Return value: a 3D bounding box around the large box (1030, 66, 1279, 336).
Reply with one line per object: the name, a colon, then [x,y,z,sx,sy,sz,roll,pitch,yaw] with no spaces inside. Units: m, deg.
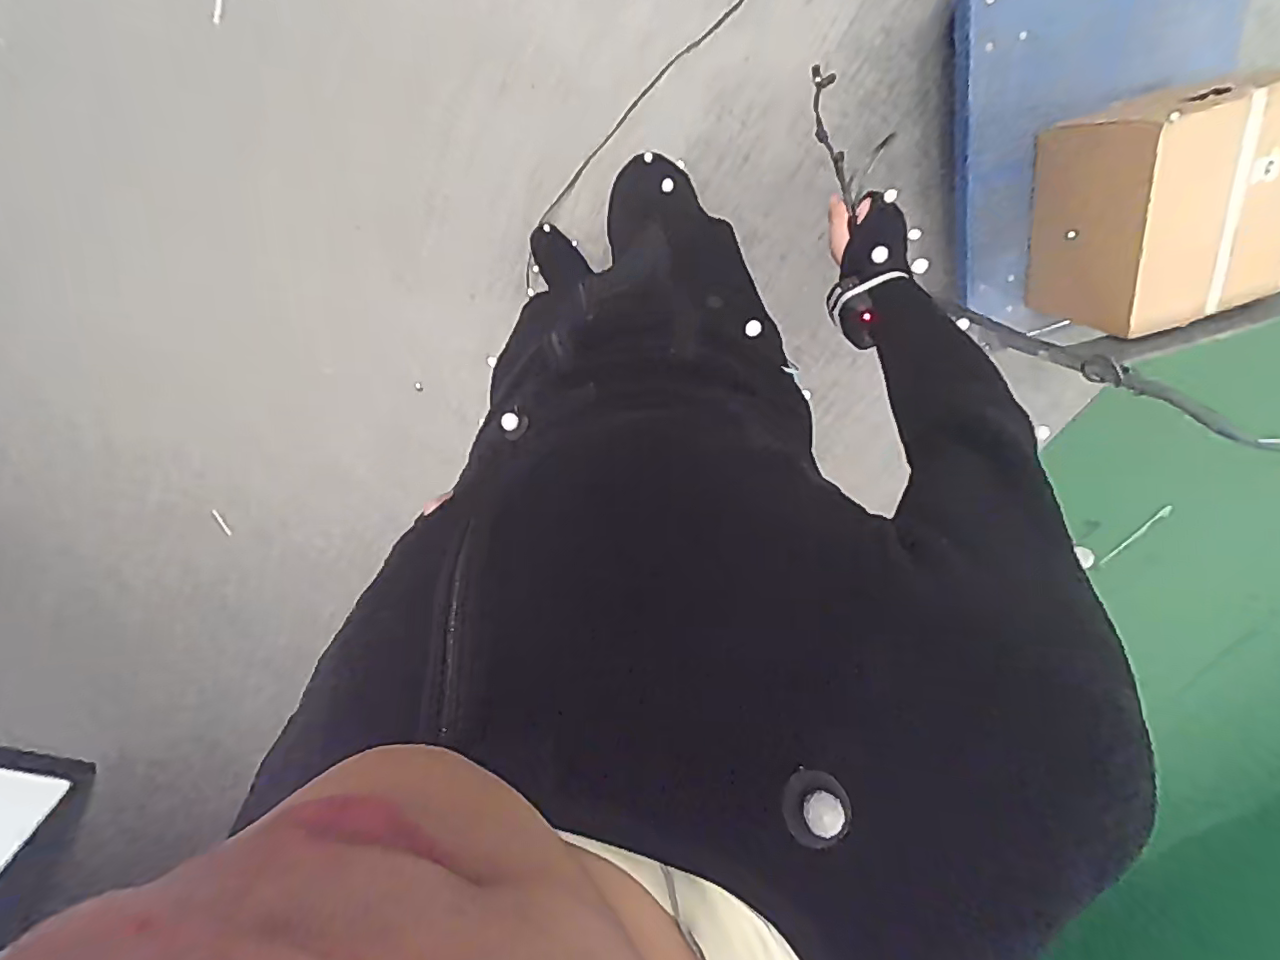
large box: [1.086,-0.574,1.140,0.320,0.320,0.408,-17,120,5]
